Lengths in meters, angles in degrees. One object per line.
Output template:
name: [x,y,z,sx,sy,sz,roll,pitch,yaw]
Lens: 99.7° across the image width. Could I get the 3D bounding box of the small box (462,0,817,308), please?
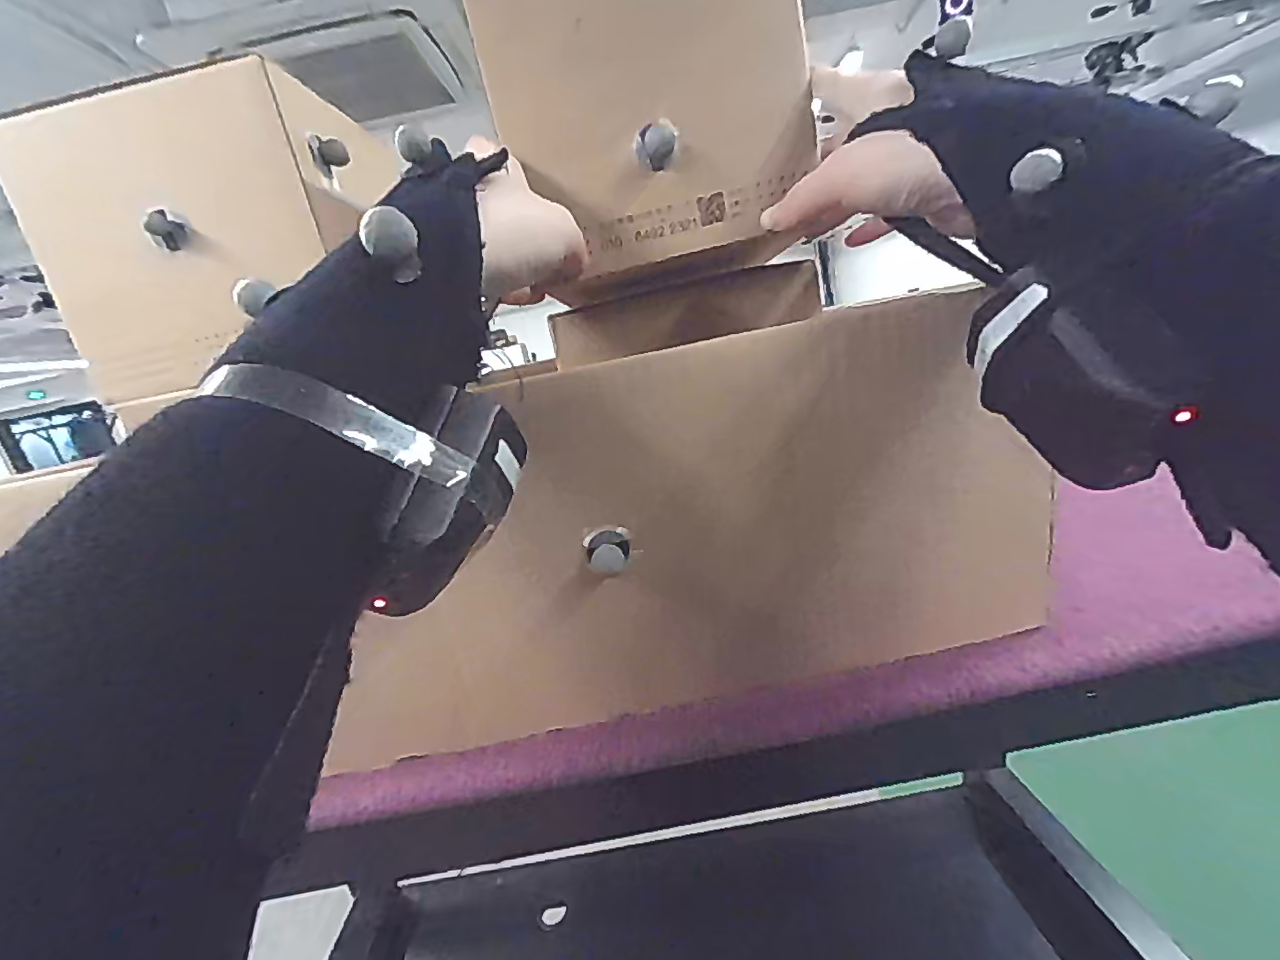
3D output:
small box: [0.004,-0.218,0.359,0.168,0.176,0.179,-13,14,4]
